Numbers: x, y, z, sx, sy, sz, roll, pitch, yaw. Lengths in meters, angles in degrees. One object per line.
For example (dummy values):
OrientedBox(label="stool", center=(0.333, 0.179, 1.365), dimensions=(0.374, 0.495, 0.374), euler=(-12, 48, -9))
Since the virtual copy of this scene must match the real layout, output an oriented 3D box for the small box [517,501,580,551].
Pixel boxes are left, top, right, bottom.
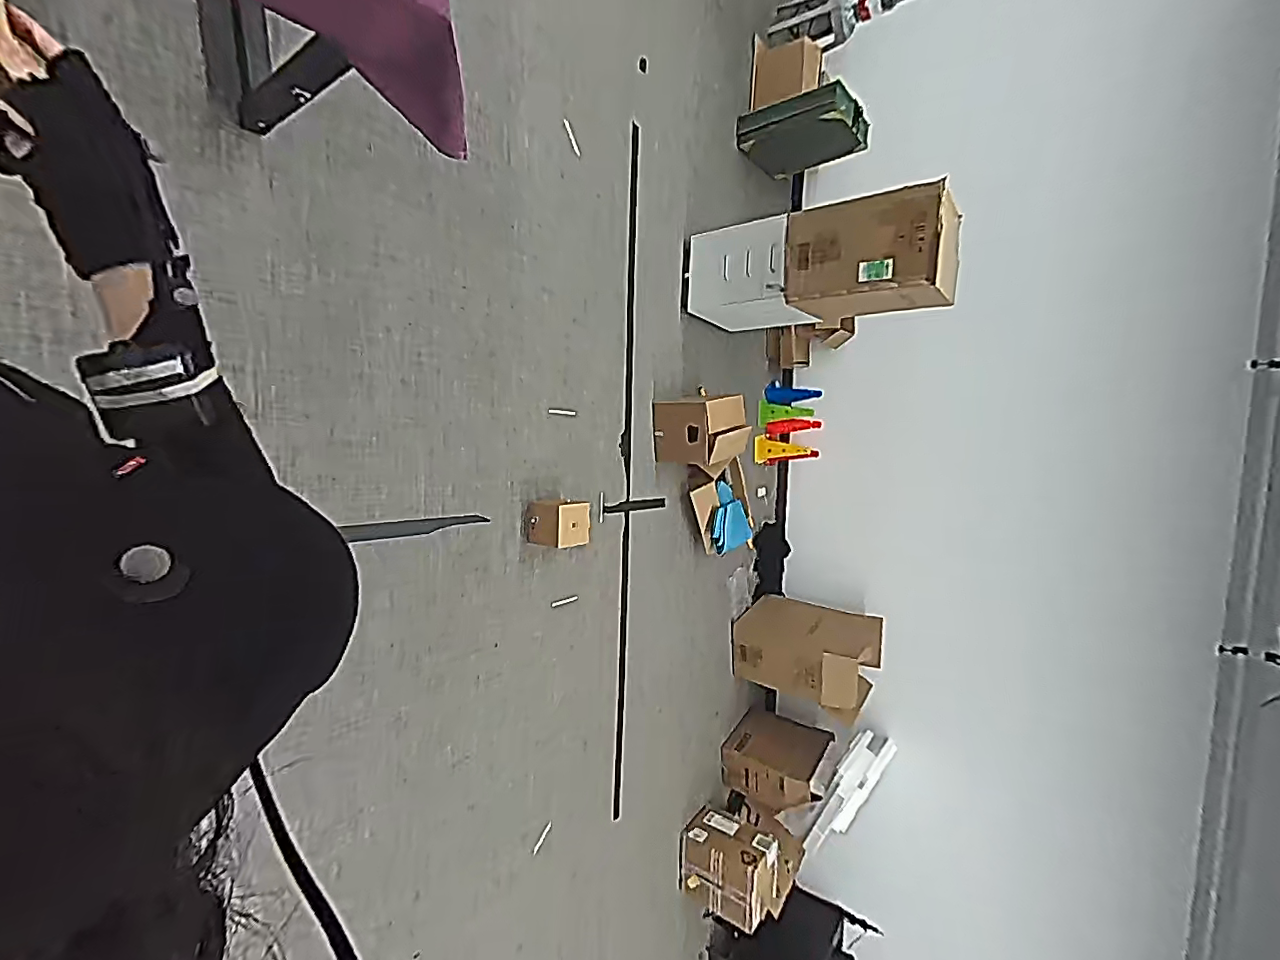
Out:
OrientedBox(label="small box", center=(-0.355, 0.174, 2.111), dimensions=(0.179, 0.176, 0.168), euler=(-3, 96, -54))
